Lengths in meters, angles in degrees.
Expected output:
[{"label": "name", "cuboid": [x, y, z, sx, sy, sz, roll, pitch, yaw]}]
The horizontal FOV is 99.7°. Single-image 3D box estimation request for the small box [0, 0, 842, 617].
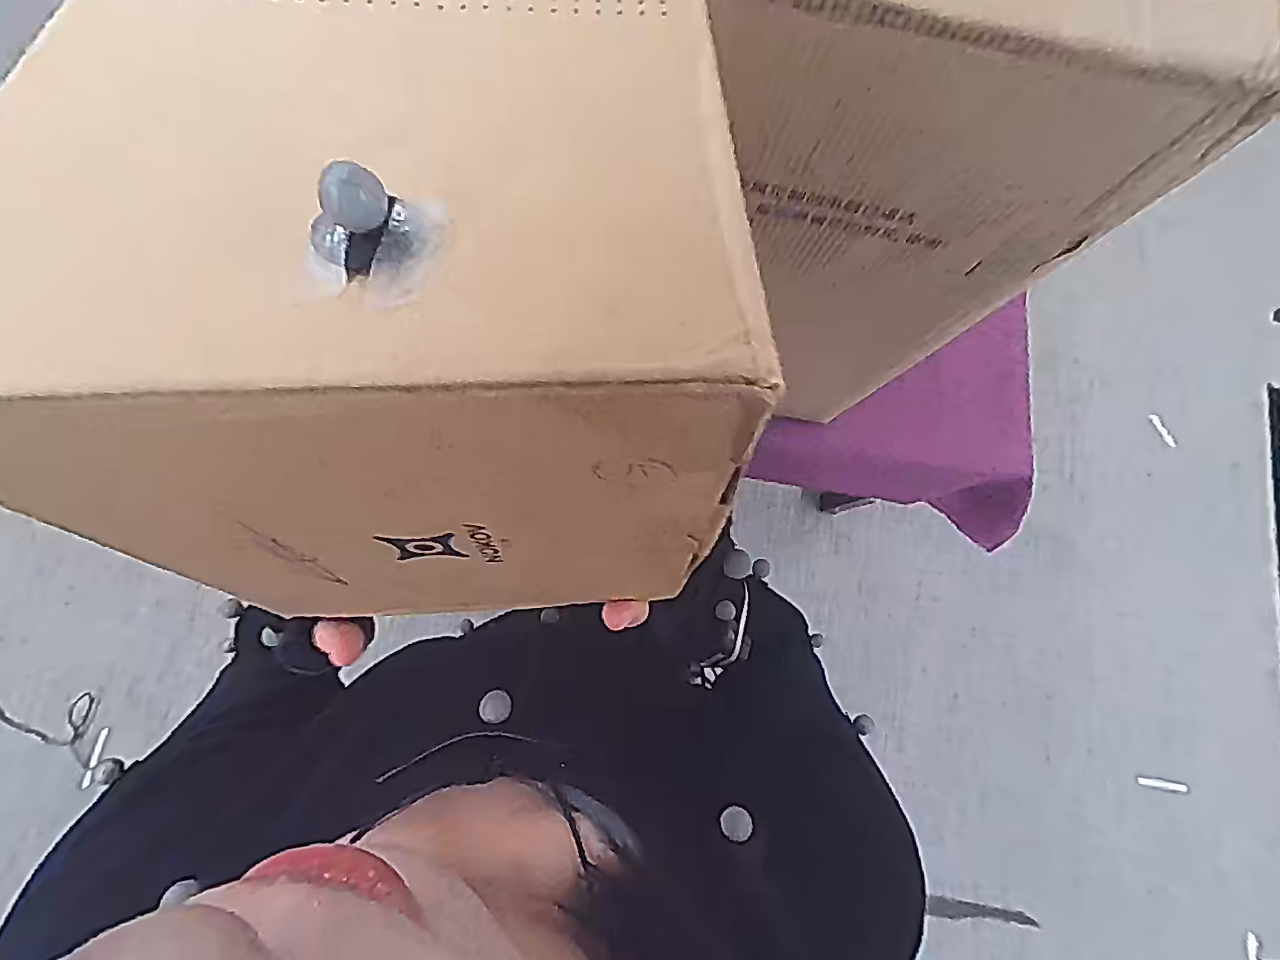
[{"label": "small box", "cuboid": [-0.059, -0.055, 0.192, 0.179, 0.168, 0.176, -1, 63, -4]}]
